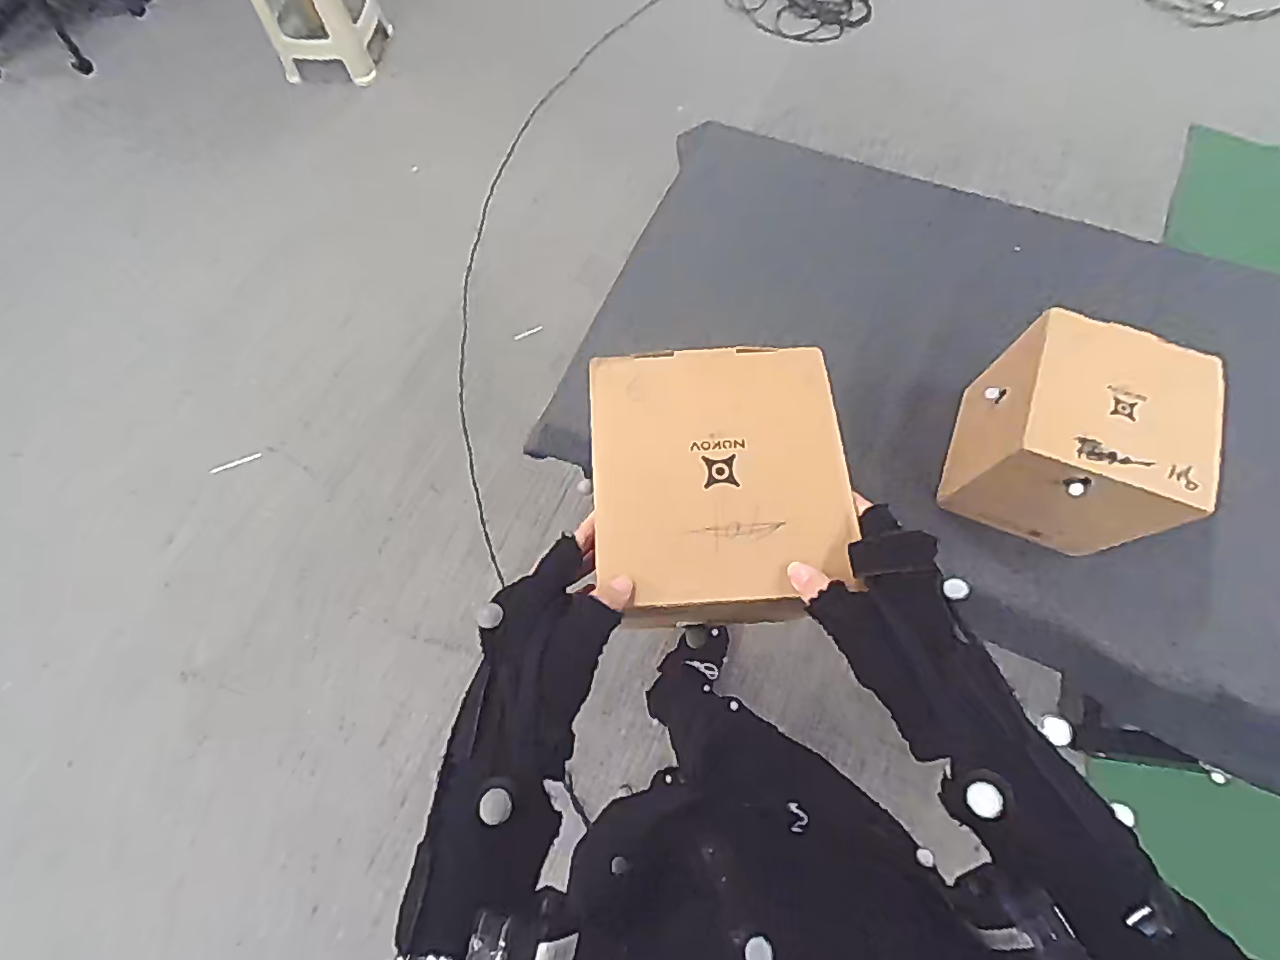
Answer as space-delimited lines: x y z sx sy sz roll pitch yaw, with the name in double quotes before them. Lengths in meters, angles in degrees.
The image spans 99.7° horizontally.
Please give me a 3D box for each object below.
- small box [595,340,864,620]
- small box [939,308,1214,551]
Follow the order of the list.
"small box" 0.052 0.011 0.433 0.168 0.176 0.179 -4 71 -1
"small box" 0.459 -0.046 0.593 0.168 0.176 0.179 21 70 10
